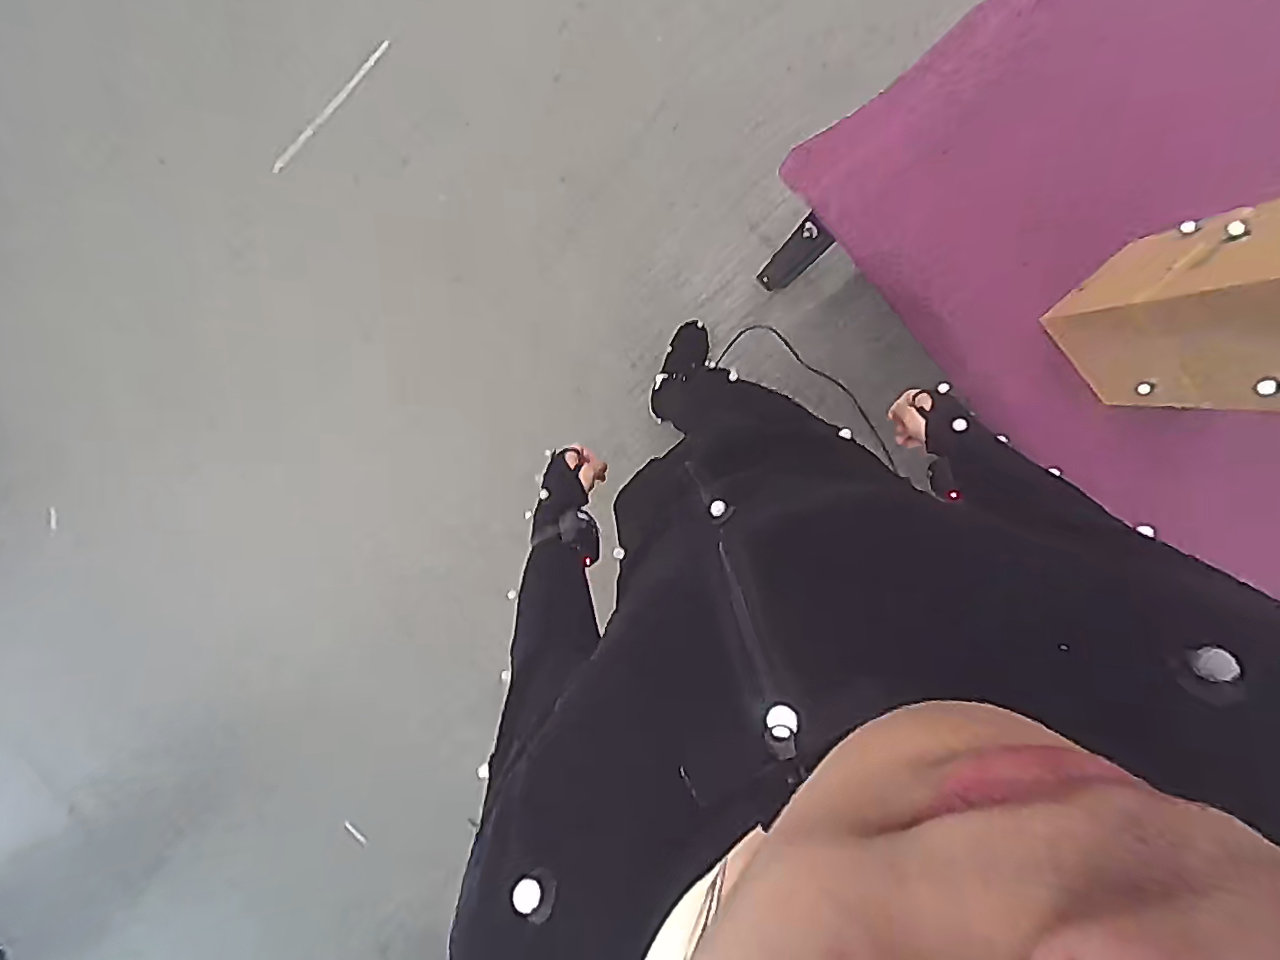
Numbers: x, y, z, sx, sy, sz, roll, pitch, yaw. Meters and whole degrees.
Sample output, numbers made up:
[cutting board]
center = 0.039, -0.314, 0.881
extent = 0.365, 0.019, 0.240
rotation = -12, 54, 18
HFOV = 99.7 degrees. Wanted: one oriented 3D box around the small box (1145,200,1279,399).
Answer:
[small box]
center = 0.715, -0.198, 0.569
extent = 0.168, 0.176, 0.179
rotation = -42, 95, 7
